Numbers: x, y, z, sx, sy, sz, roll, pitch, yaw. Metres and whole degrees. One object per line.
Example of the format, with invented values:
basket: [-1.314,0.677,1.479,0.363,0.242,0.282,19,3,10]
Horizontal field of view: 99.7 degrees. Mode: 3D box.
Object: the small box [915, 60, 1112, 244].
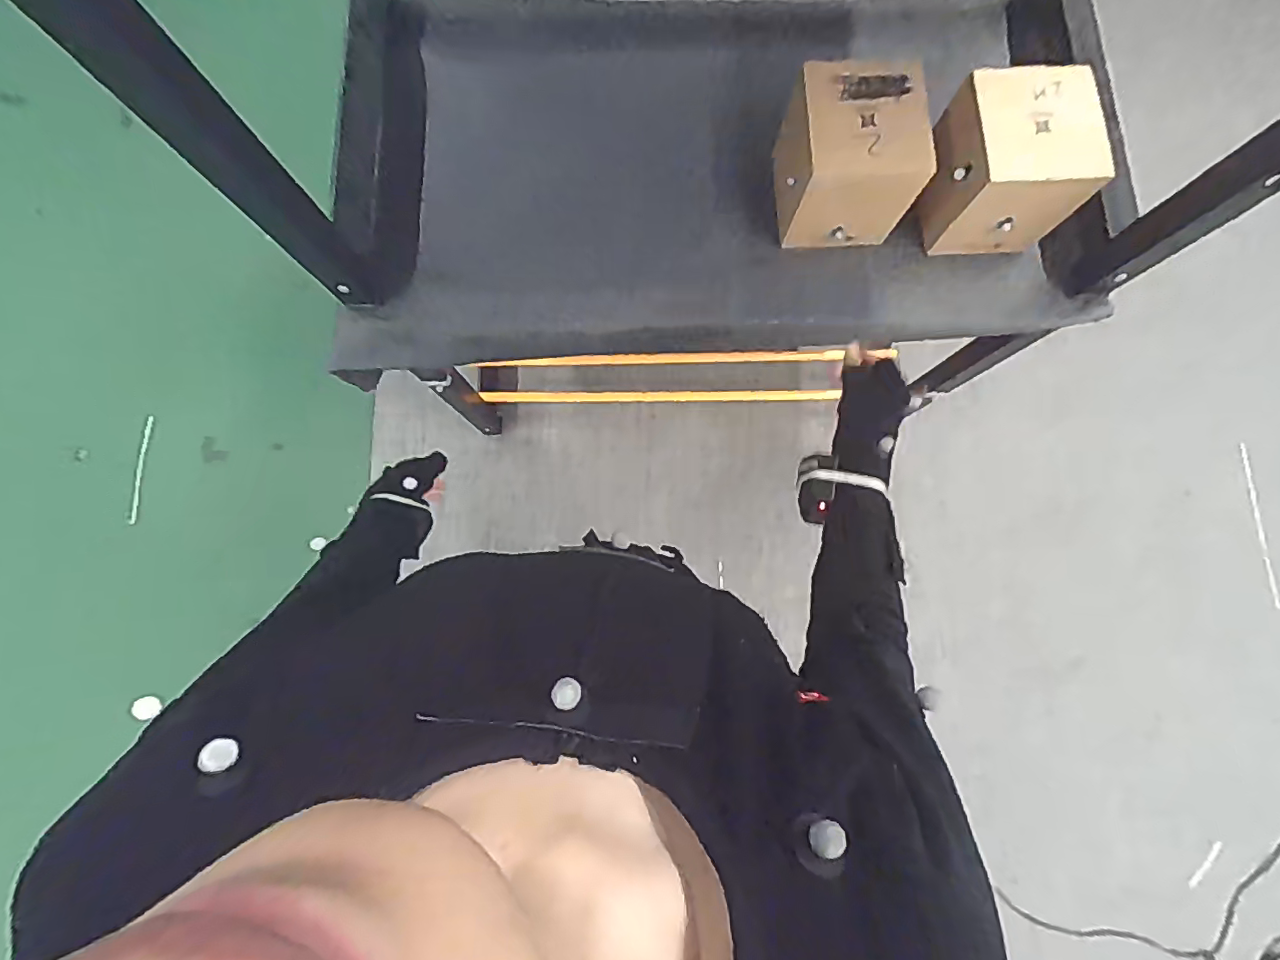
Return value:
small box: [0.535,-0.470,0.800,0.168,0.176,0.179,-2,79,-1]
